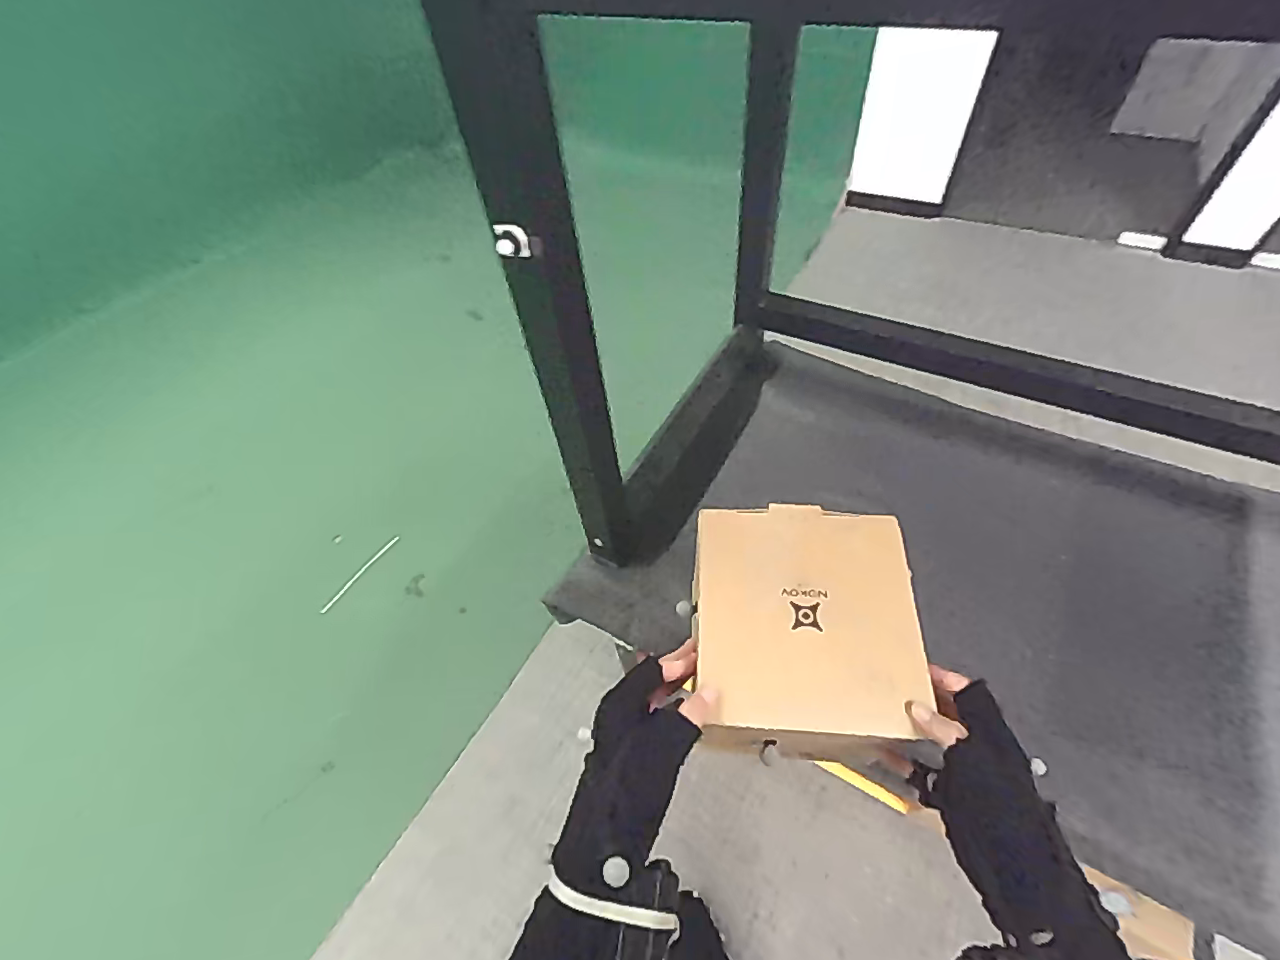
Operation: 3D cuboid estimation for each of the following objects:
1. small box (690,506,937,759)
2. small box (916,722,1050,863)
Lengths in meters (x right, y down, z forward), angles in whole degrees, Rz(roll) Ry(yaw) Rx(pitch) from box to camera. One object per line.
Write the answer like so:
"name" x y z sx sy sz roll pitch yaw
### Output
"small box" 0.131 0.141 0.481 0.168 0.176 0.179 1 56 5
"small box" 0.666 0.619 1.065 0.168 0.176 0.179 21 58 23
